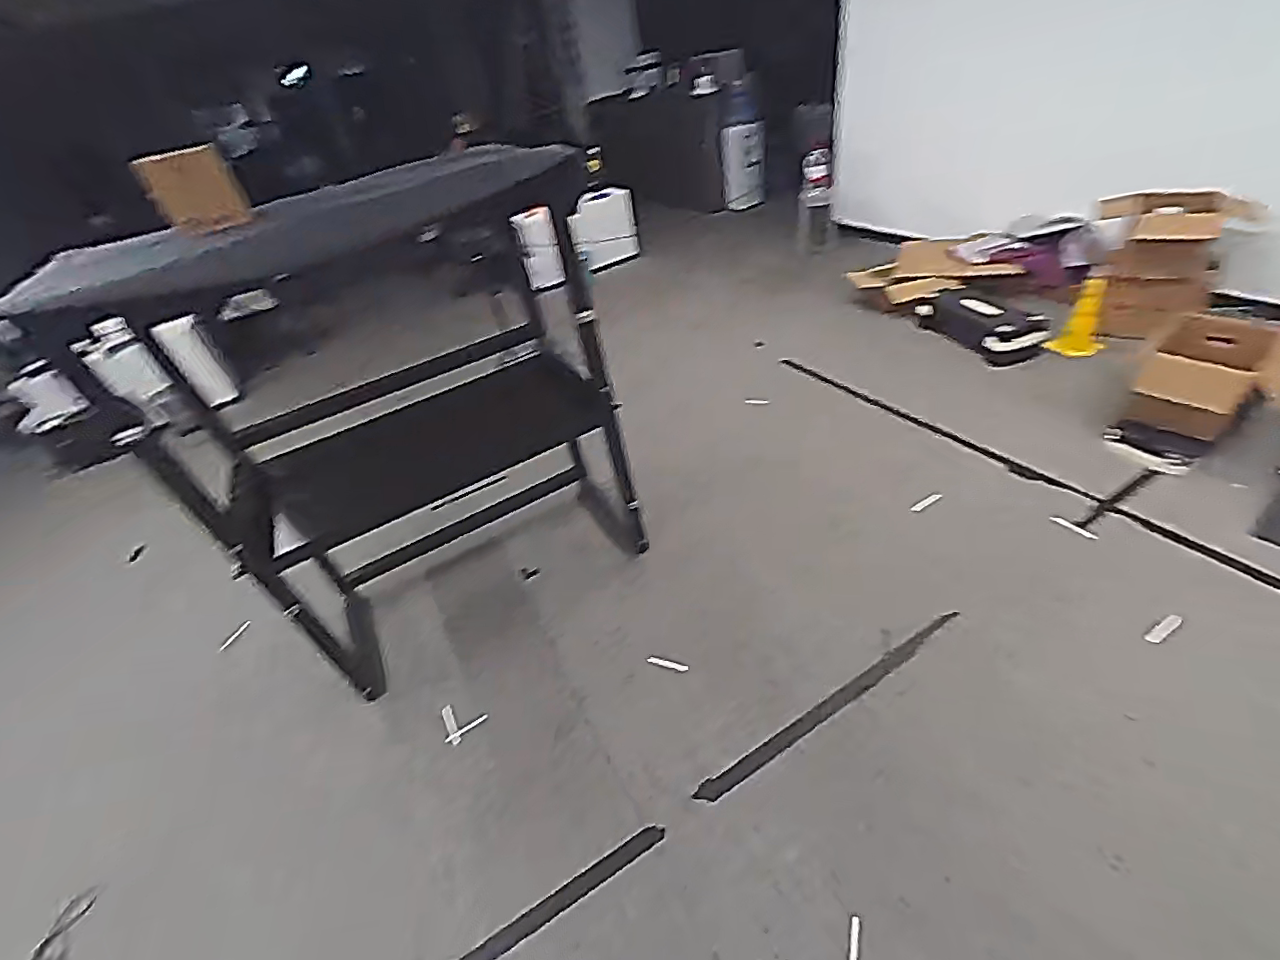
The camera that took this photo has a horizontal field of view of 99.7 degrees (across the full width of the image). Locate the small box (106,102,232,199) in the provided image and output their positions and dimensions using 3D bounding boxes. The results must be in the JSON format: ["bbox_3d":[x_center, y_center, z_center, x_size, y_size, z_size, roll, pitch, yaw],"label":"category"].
[{"bbox_3d":[-1.122,-0.793,1.304,0.168,0.176,0.179,-29,42,-20],"label":"small box"}]
